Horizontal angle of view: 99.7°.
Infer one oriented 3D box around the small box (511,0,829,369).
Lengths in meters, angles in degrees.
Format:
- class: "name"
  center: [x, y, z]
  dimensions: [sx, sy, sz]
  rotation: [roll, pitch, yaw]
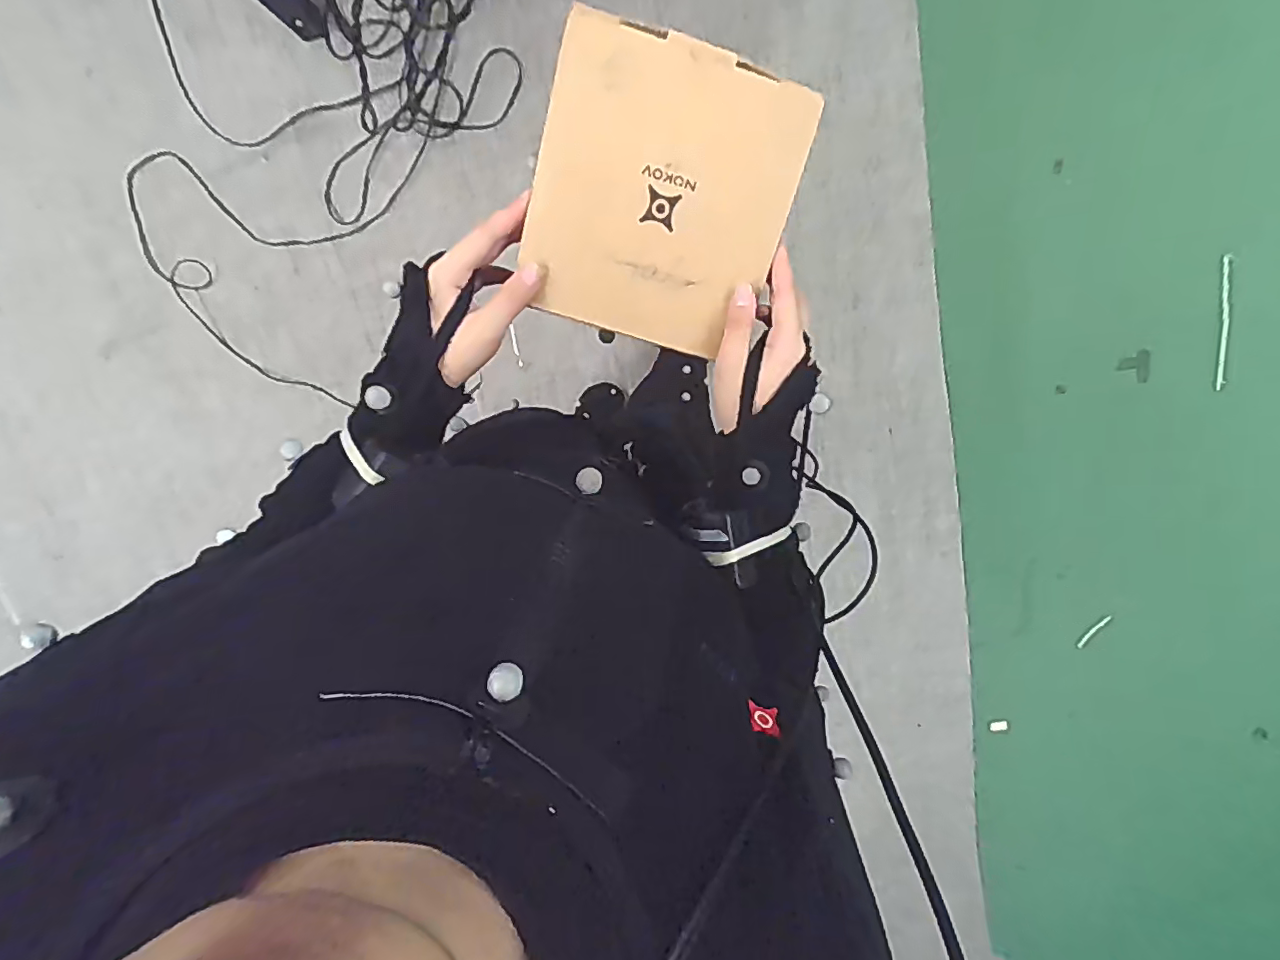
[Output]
- class: "small box"
  center: [0.011, -0.202, 0.419]
  dimensions: [0.168, 0.176, 0.179]
  rotation: [15, 107, -8]
